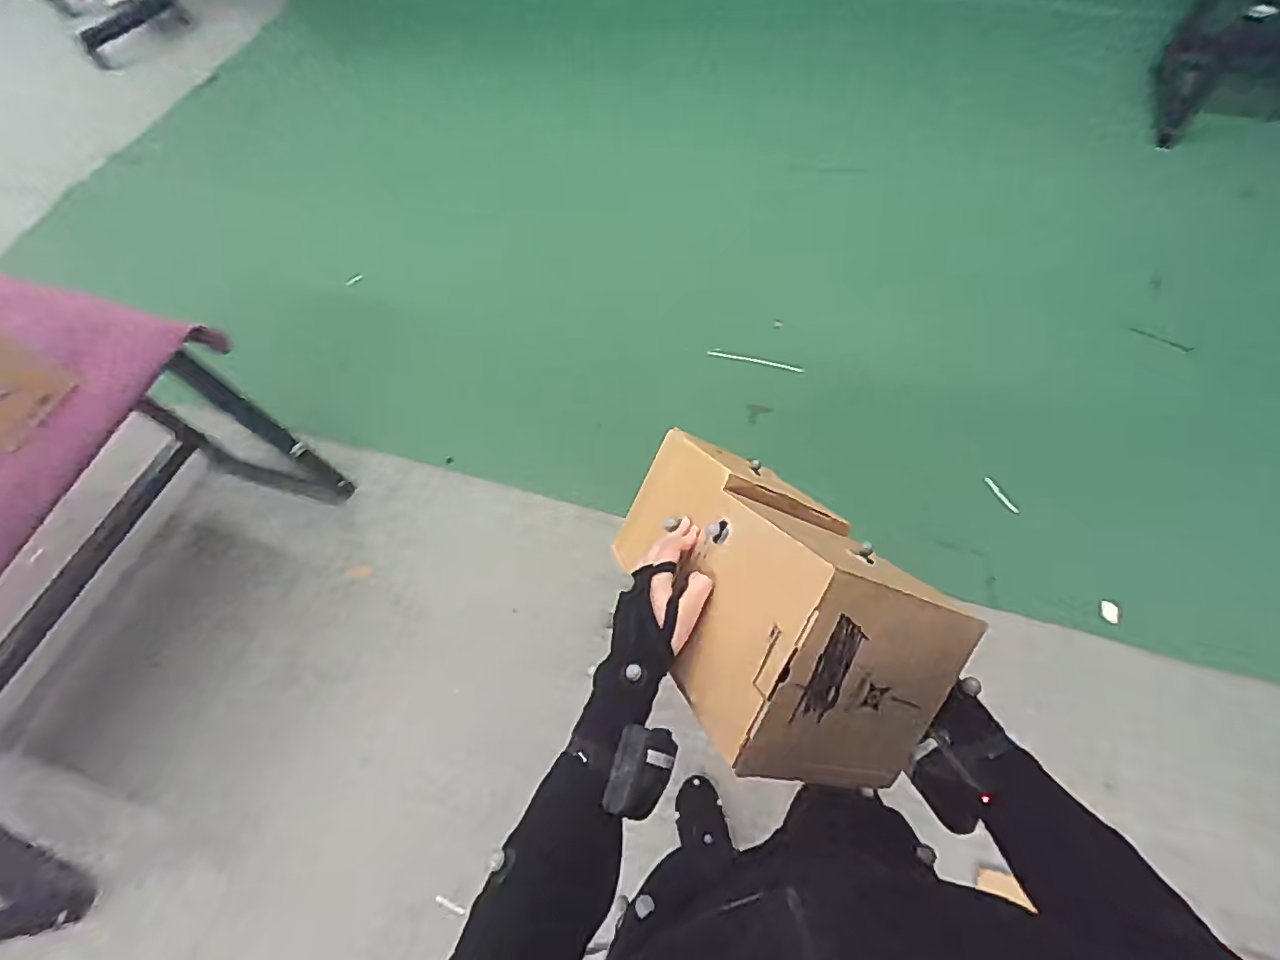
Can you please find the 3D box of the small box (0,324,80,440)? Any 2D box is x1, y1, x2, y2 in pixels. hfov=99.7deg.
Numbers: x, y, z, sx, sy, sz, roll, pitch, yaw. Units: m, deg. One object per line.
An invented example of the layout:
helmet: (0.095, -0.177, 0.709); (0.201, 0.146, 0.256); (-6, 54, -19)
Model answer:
small box: (-1.157, -0.189, 0.935); (0.179, 0.176, 0.168); (16, 65, 14)

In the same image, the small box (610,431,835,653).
small box: (0.079, 0.064, 0.626); (0.168, 0.176, 0.179); (21, 99, -24)
